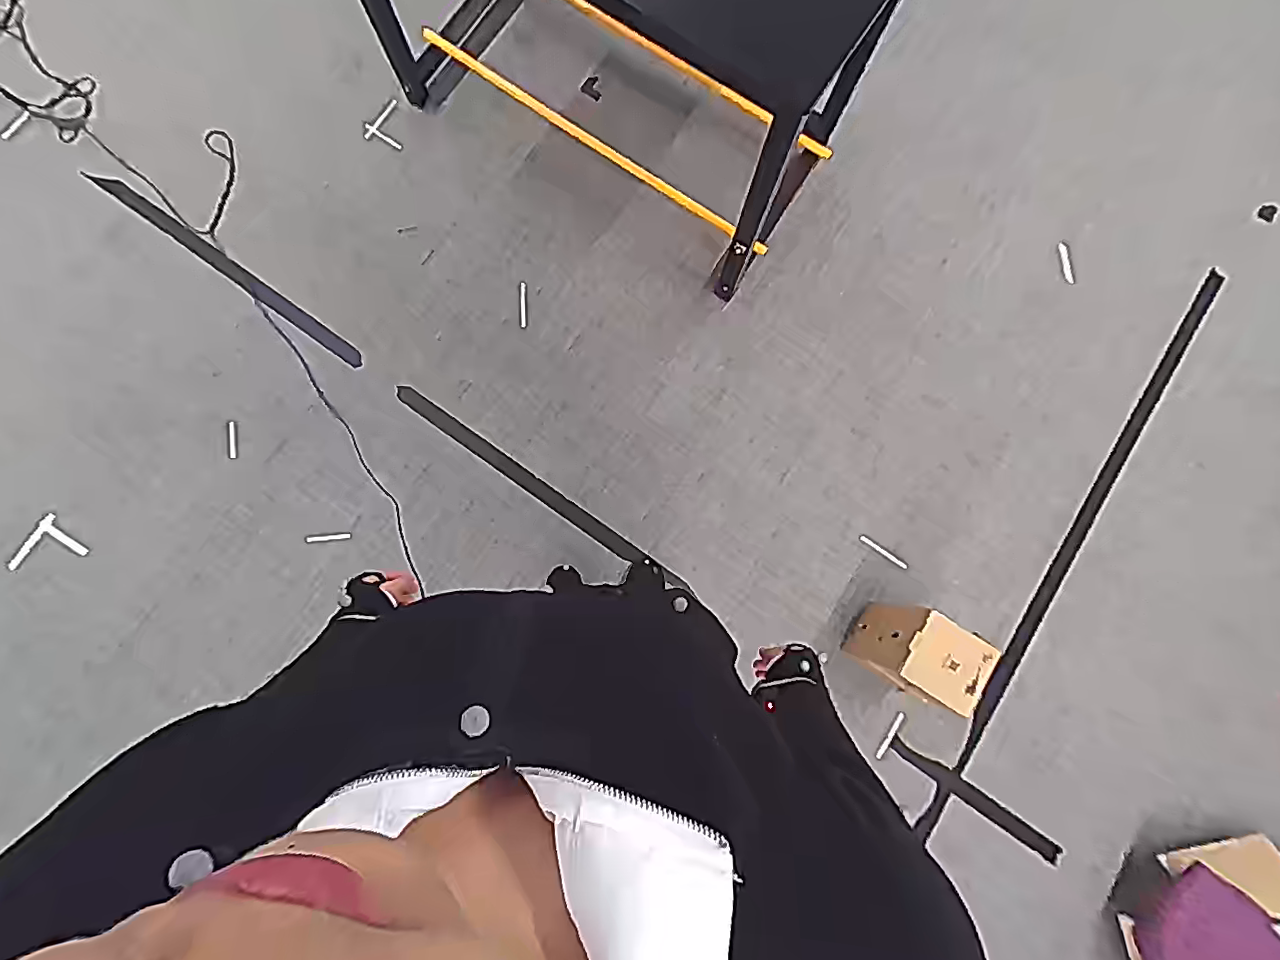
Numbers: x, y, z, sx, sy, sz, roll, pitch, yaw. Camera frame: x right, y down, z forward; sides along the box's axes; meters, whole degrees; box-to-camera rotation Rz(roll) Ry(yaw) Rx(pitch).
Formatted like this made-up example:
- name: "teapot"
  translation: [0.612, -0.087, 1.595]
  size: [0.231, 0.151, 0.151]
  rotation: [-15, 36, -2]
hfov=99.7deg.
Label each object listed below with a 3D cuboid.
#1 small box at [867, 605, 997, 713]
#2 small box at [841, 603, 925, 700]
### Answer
- name: "small box"
  translation: [0.667, 0.404, 1.258]
  size: [0.179, 0.176, 0.168]
  rotation: [33, 82, 4]
- name: "small box"
  translation: [0.668, 0.438, 1.418]
  size: [0.179, 0.176, 0.168]
  rotation: [35, 82, 4]
